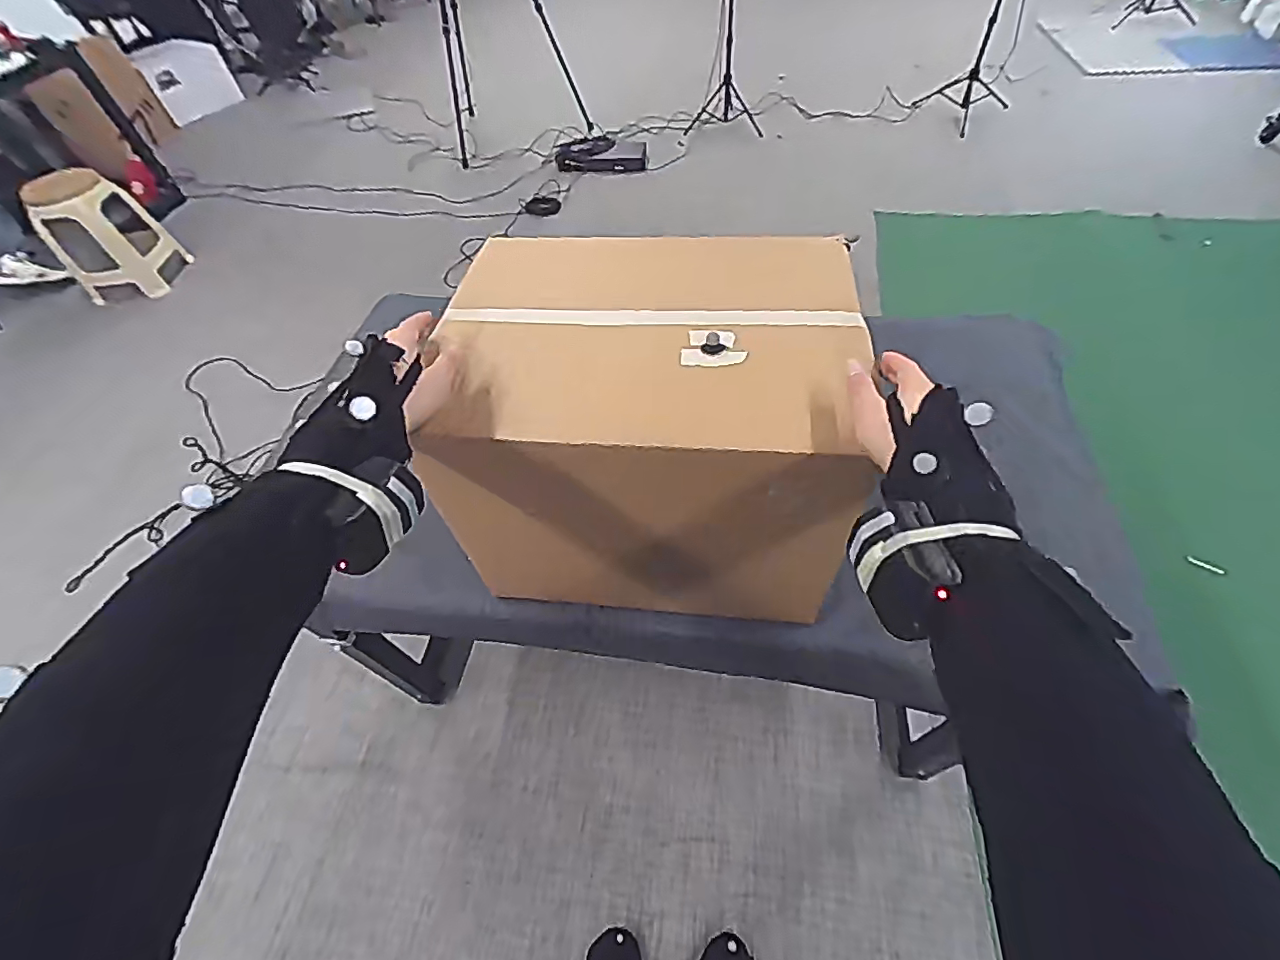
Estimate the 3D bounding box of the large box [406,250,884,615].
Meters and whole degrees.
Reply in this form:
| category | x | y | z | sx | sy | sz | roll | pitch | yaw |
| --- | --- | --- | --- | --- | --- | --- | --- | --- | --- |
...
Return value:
| category | x | y | z | sx | sy | sz | roll | pitch | yaw |
| --- | --- | --- | --- | --- | --- | --- | --- | --- | --- |
| large box | 0.016 | -0.054 | 0.646 | 0.408 | 0.320 | 0.320 | 3 | 52 | 6 |
